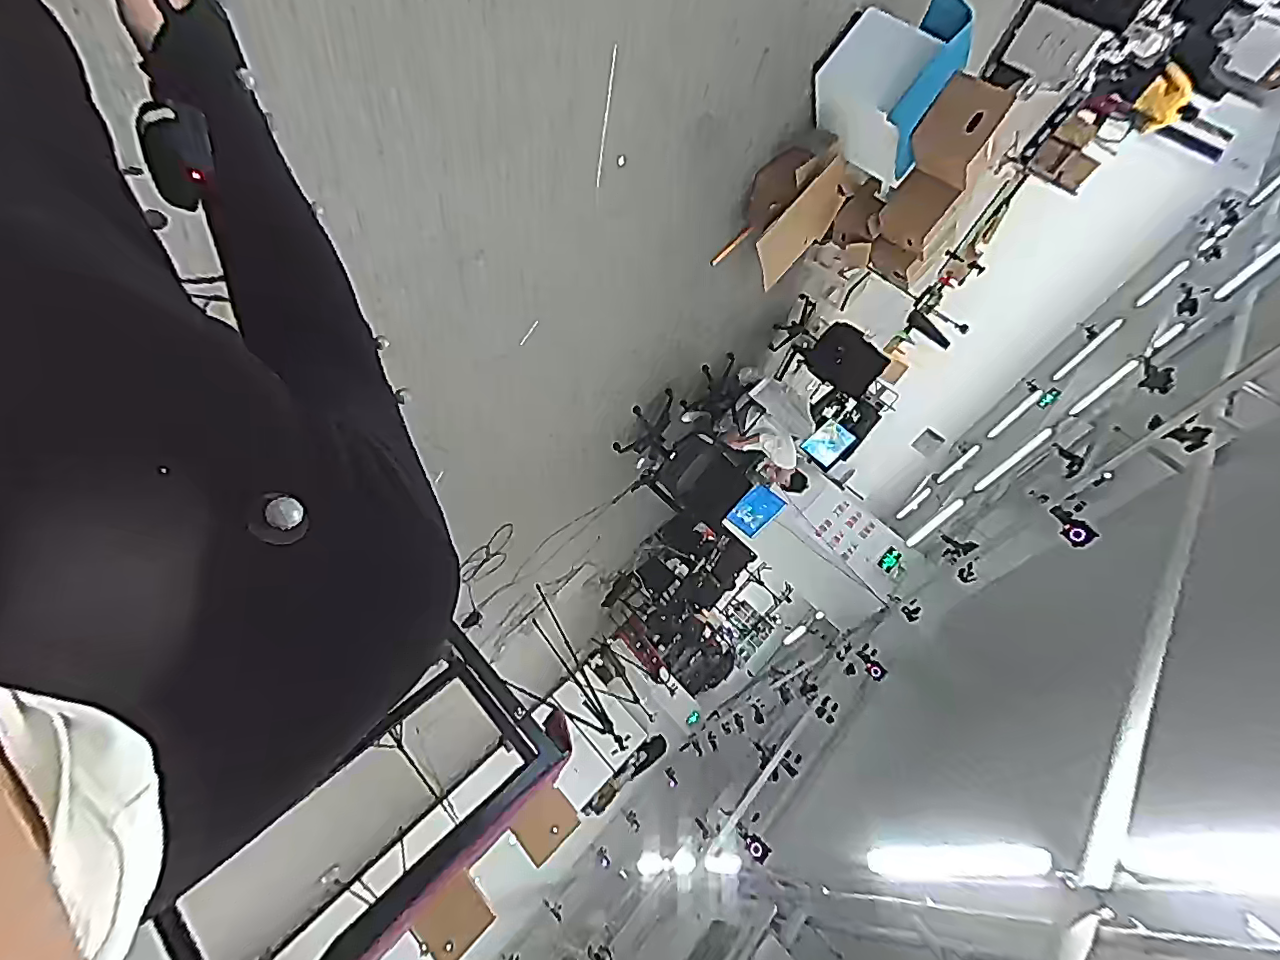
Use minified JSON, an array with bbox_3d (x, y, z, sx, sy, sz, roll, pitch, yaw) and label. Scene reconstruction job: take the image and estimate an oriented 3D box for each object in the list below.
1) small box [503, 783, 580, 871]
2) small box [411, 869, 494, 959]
[{"bbox_3d":[-0.317,1.107,1.737,0.179,0.176,0.168,-36,160,-28],"label":"small box"},{"bbox_3d":[-0.547,1.281,1.574,0.179,0.176,0.168,-36,161,-32],"label":"small box"}]
